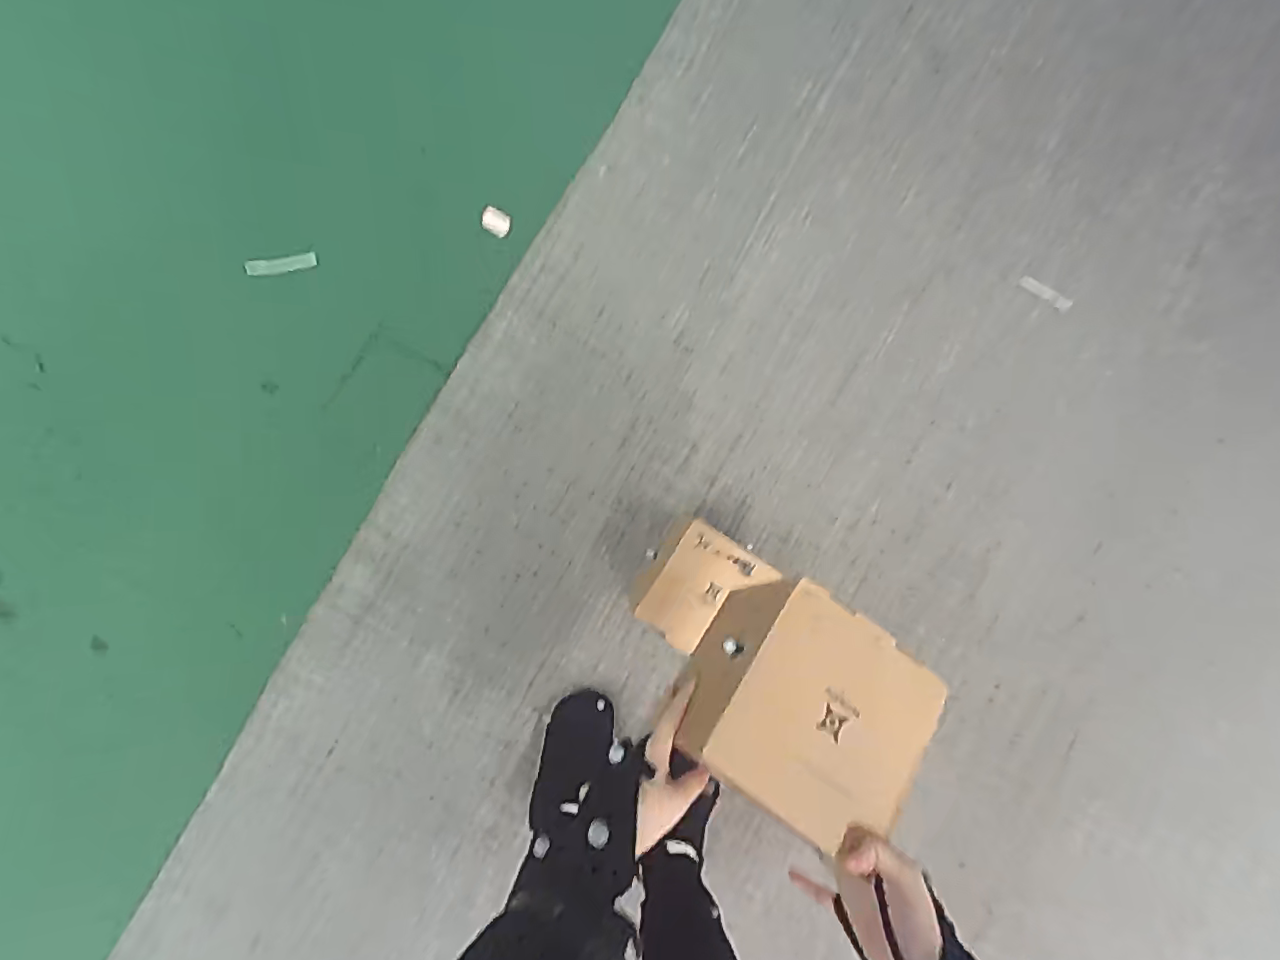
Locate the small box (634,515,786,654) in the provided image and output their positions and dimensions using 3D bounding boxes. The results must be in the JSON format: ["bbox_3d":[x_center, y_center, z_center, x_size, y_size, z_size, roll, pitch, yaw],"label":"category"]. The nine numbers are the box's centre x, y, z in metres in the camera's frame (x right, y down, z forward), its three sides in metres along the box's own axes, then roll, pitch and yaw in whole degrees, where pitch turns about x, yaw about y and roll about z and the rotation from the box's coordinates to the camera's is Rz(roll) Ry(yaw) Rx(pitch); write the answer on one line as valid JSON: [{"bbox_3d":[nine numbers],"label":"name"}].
[{"bbox_3d":[0.103,0.173,0.881,0.168,0.176,0.179,34,87,-2],"label":"small box"}]

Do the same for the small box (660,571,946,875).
[{"bbox_3d":[0.140,0.212,0.517,0.168,0.176,0.179,37,70,1],"label":"small box"}]
